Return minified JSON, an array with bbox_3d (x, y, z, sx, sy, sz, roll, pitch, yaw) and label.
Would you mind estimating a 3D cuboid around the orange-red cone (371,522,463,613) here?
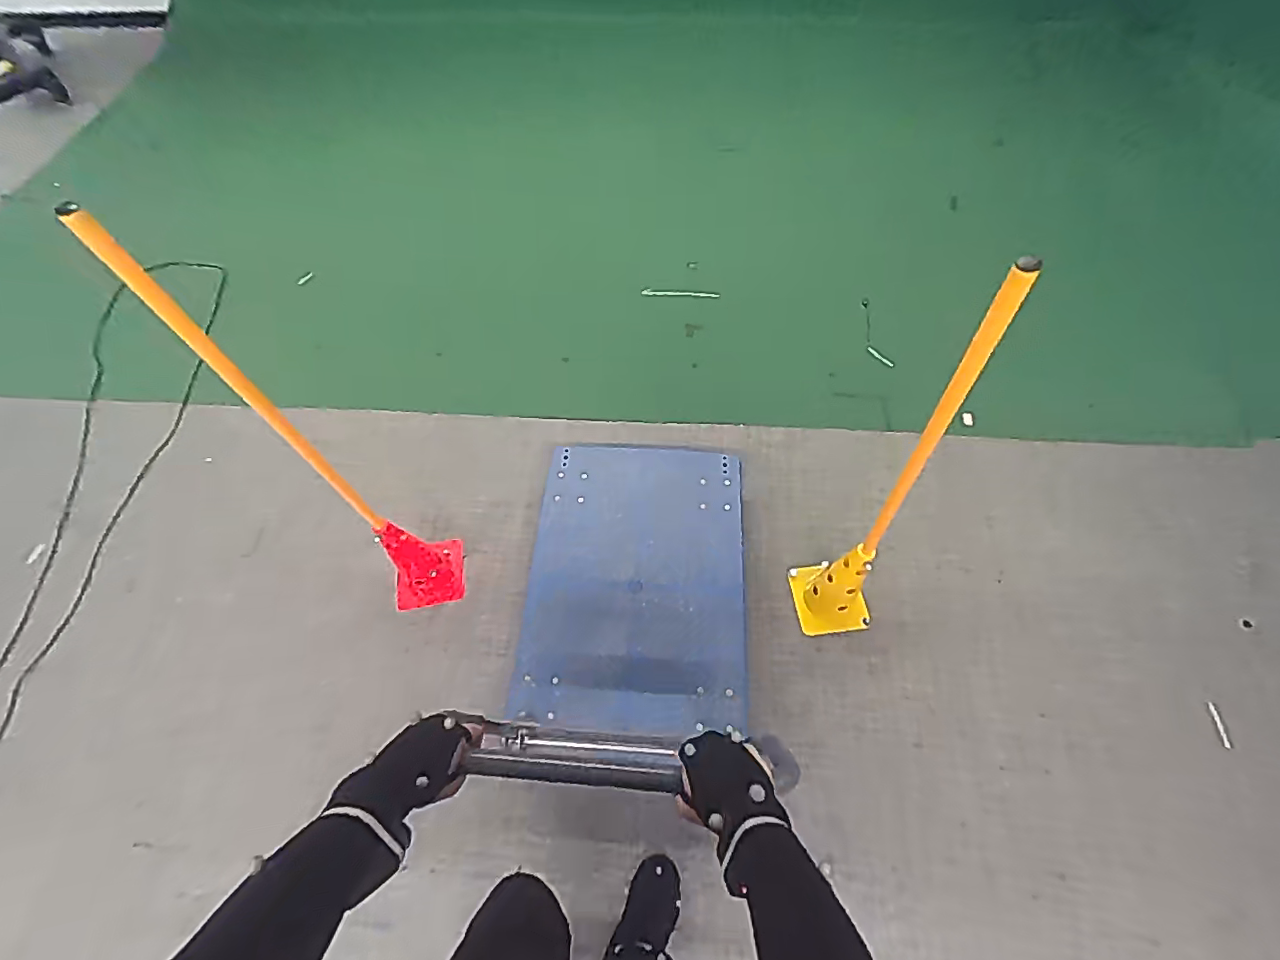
[{"bbox_3d":[-0.644,0.211,1.490,0.199,0.360,0.198,-10,60,-2],"label":"orange-red cone"}]
